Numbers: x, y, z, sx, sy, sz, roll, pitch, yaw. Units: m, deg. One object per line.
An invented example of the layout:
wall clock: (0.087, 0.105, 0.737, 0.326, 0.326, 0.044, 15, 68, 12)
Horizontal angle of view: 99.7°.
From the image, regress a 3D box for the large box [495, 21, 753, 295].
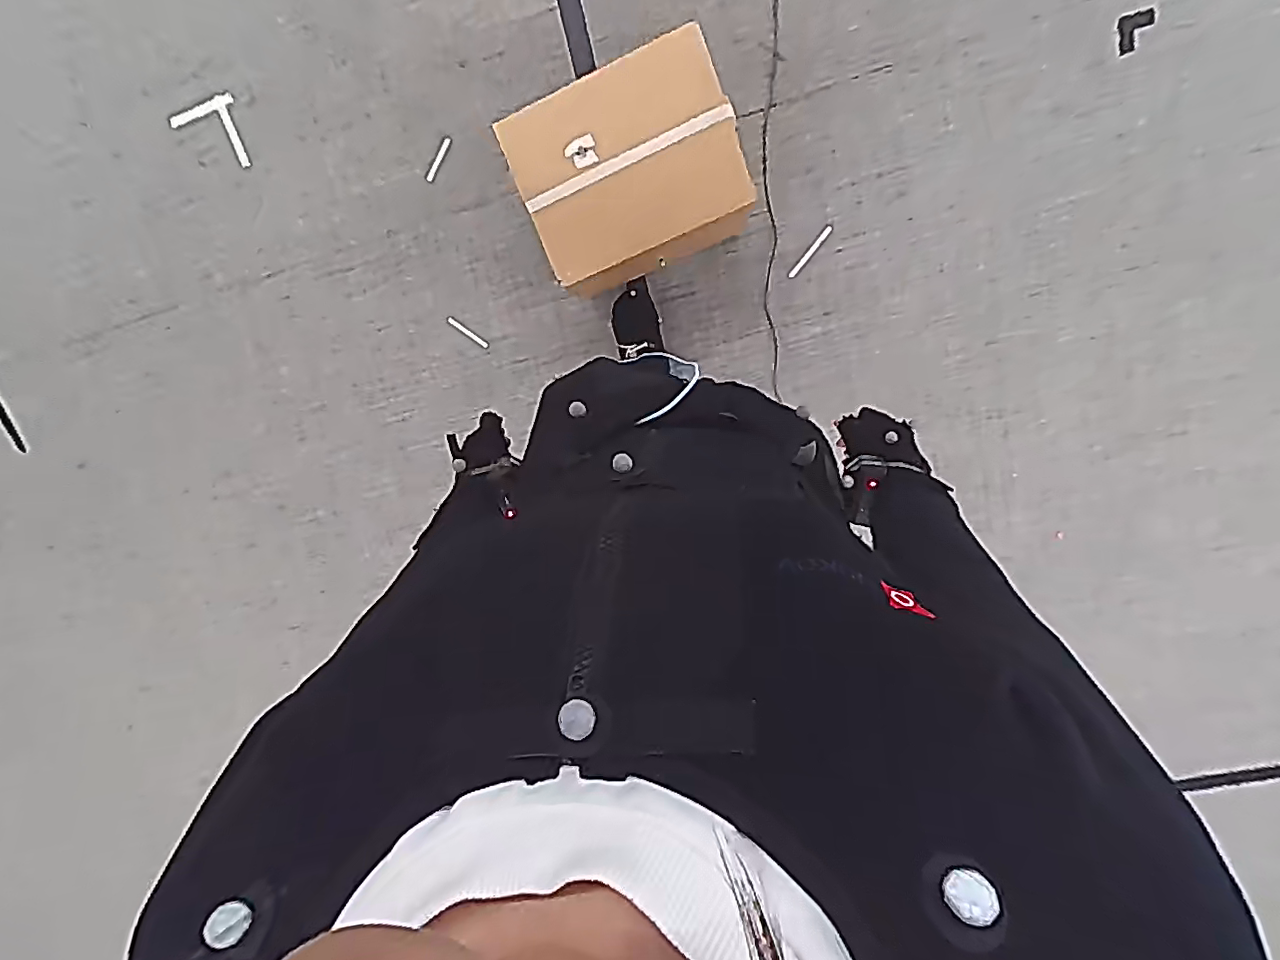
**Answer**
large box: (-0.016, -0.620, 1.130, 0.408, 0.320, 0.320, -20, 102, 11)
